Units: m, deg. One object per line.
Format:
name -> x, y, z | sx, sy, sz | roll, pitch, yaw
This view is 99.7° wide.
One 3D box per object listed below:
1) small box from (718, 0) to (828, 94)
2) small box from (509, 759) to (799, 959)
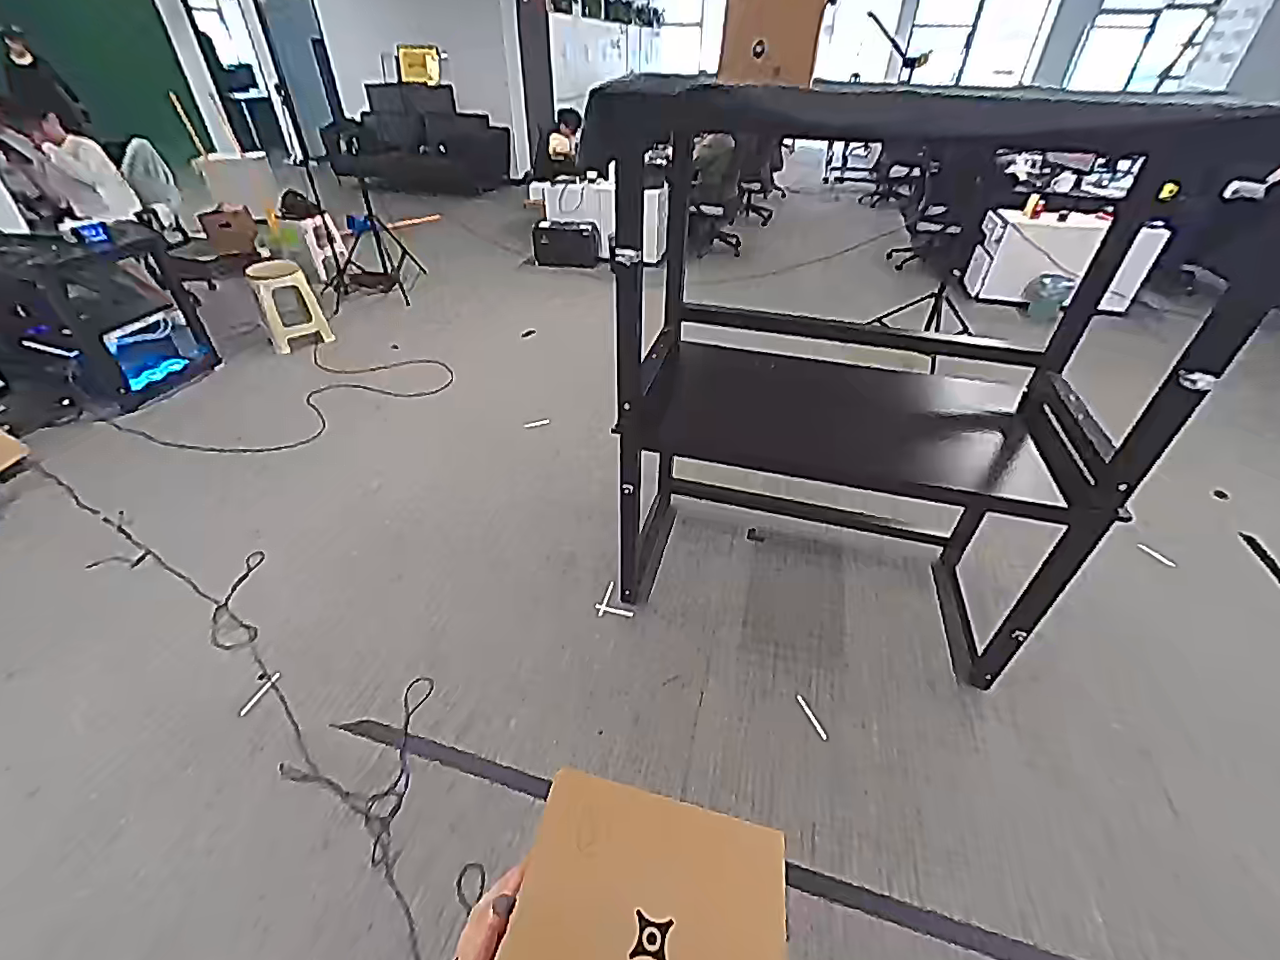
small box -> 0.240, -0.807, 0.974 | 0.168, 0.176, 0.179 | 11, 38, 10
small box -> -0.002, 0.329, 0.361 | 0.168, 0.176, 0.179 | 14, 39, 3
